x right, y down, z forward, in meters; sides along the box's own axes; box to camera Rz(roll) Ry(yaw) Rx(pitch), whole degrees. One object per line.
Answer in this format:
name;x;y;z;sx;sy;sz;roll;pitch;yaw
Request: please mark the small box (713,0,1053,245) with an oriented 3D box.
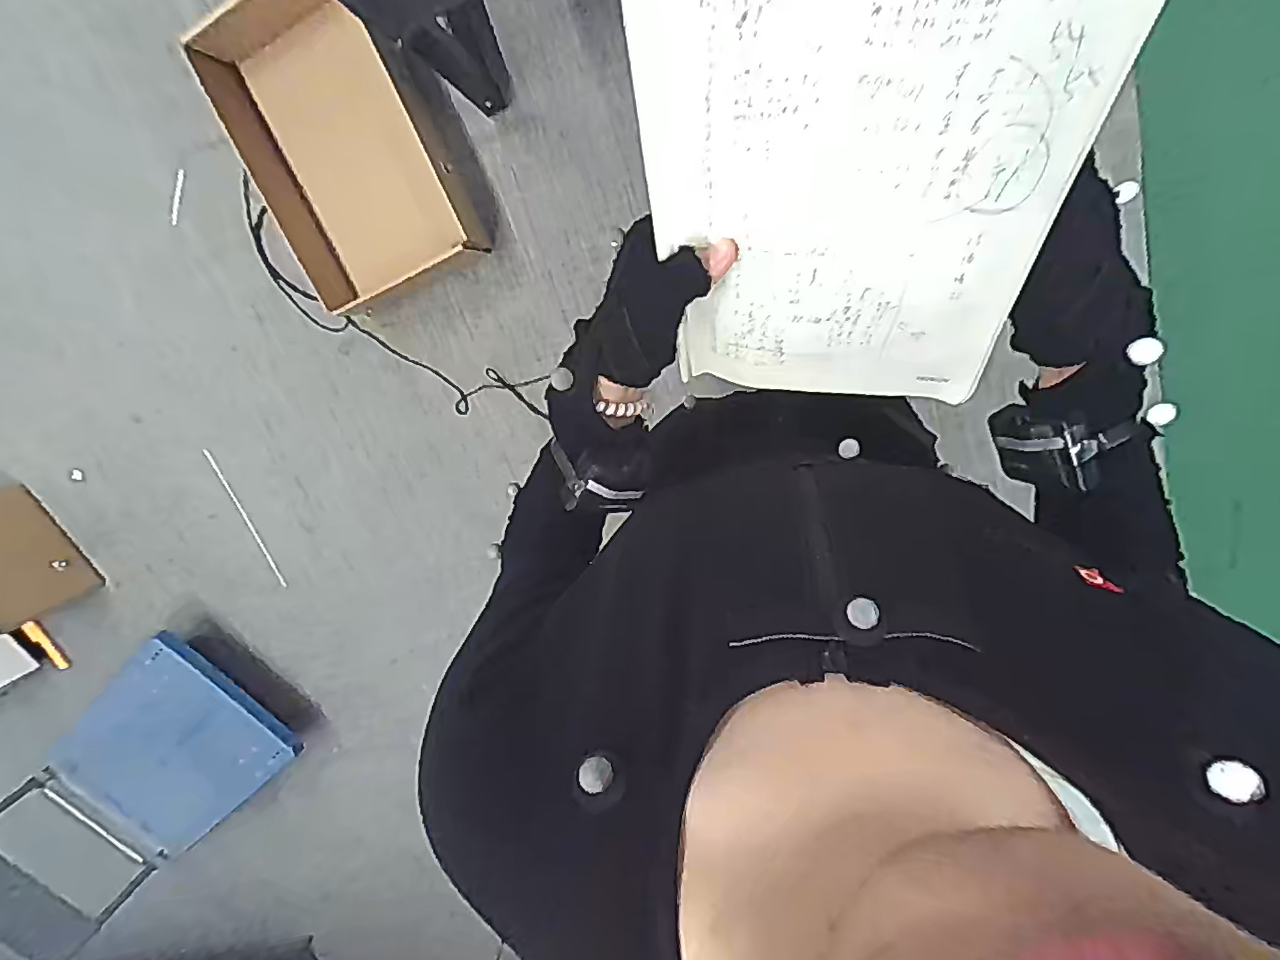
small box;0.133;-0.270;0.352;0.168;0.176;0.179;-2;126;10
